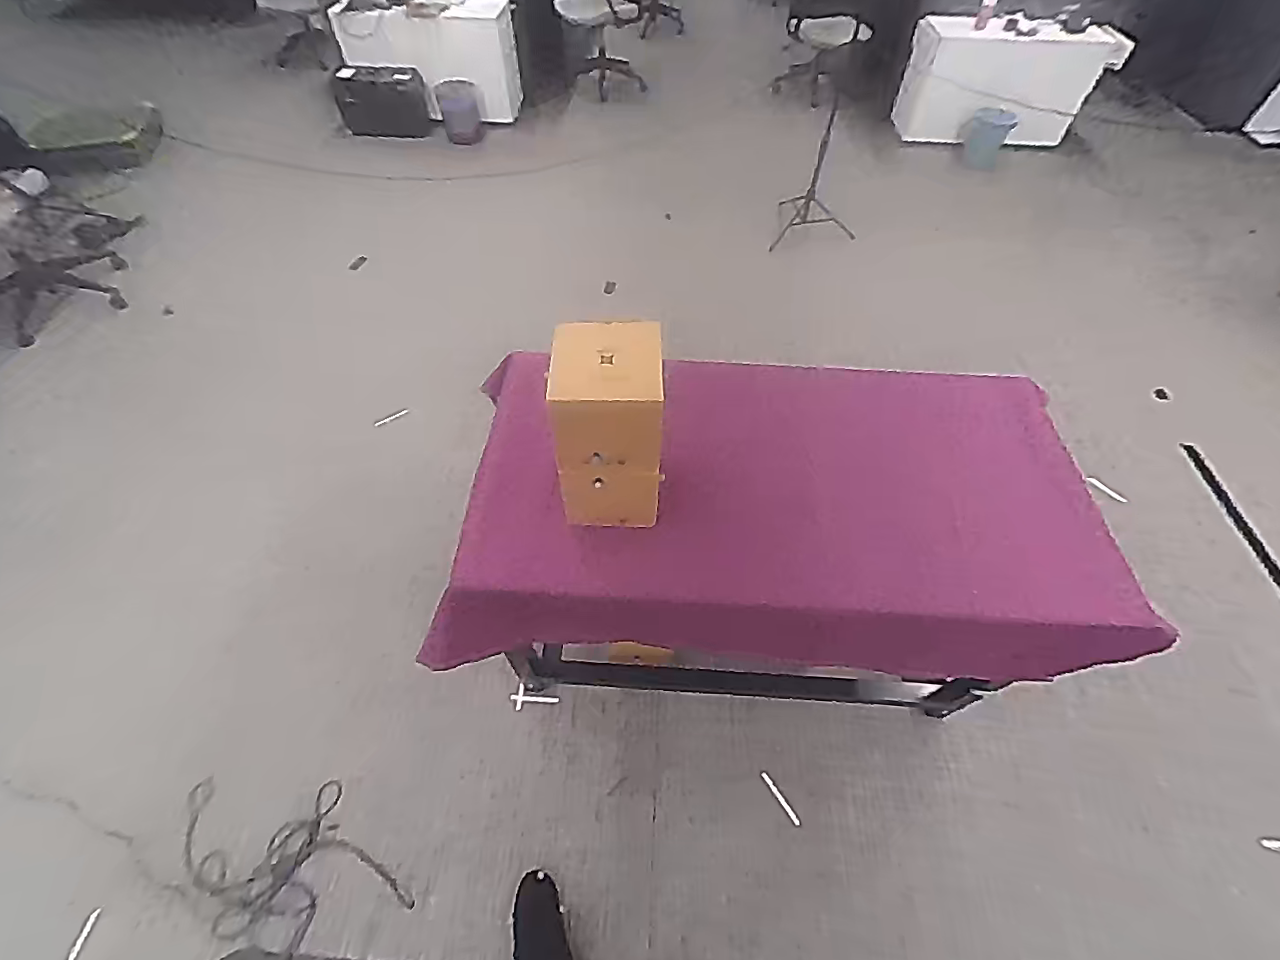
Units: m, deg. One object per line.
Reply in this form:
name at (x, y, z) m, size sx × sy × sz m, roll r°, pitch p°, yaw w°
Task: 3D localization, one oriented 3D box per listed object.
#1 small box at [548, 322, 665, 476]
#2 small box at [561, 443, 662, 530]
small box at (-0.048, -0.127, 0.862) m, size 0.168 × 0.176 × 0.179 m, roll 1°, pitch 54°, yaw -1°
small box at (-0.047, -0.028, 0.992) m, size 0.168 × 0.176 × 0.179 m, roll 2°, pitch 53°, yaw 0°
